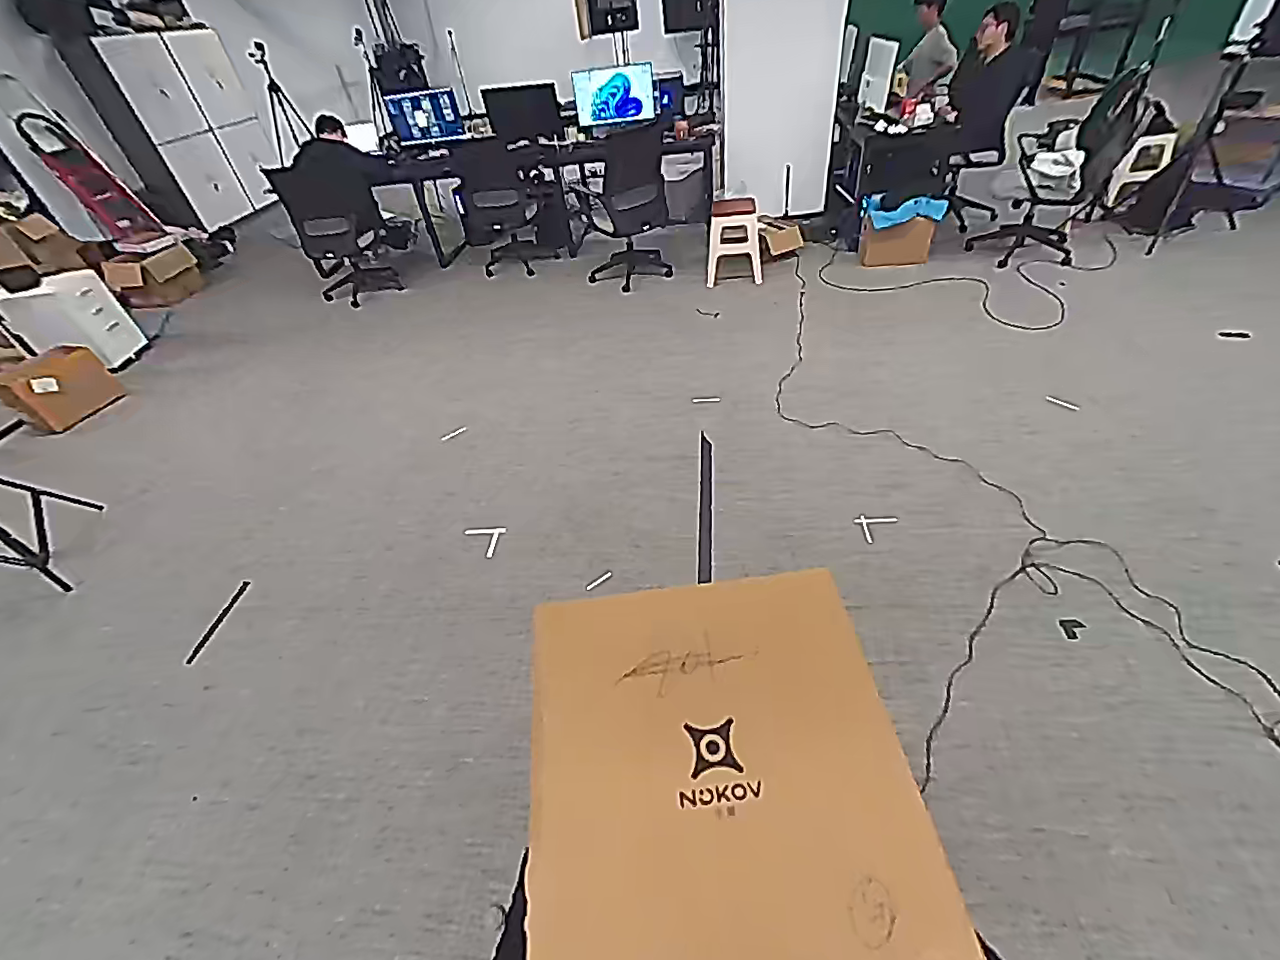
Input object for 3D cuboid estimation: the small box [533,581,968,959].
[{"bbox_3d":[0.037,0.184,0.309,0.168,0.176,0.179,-7,48,-3],"label":"small box"}]
